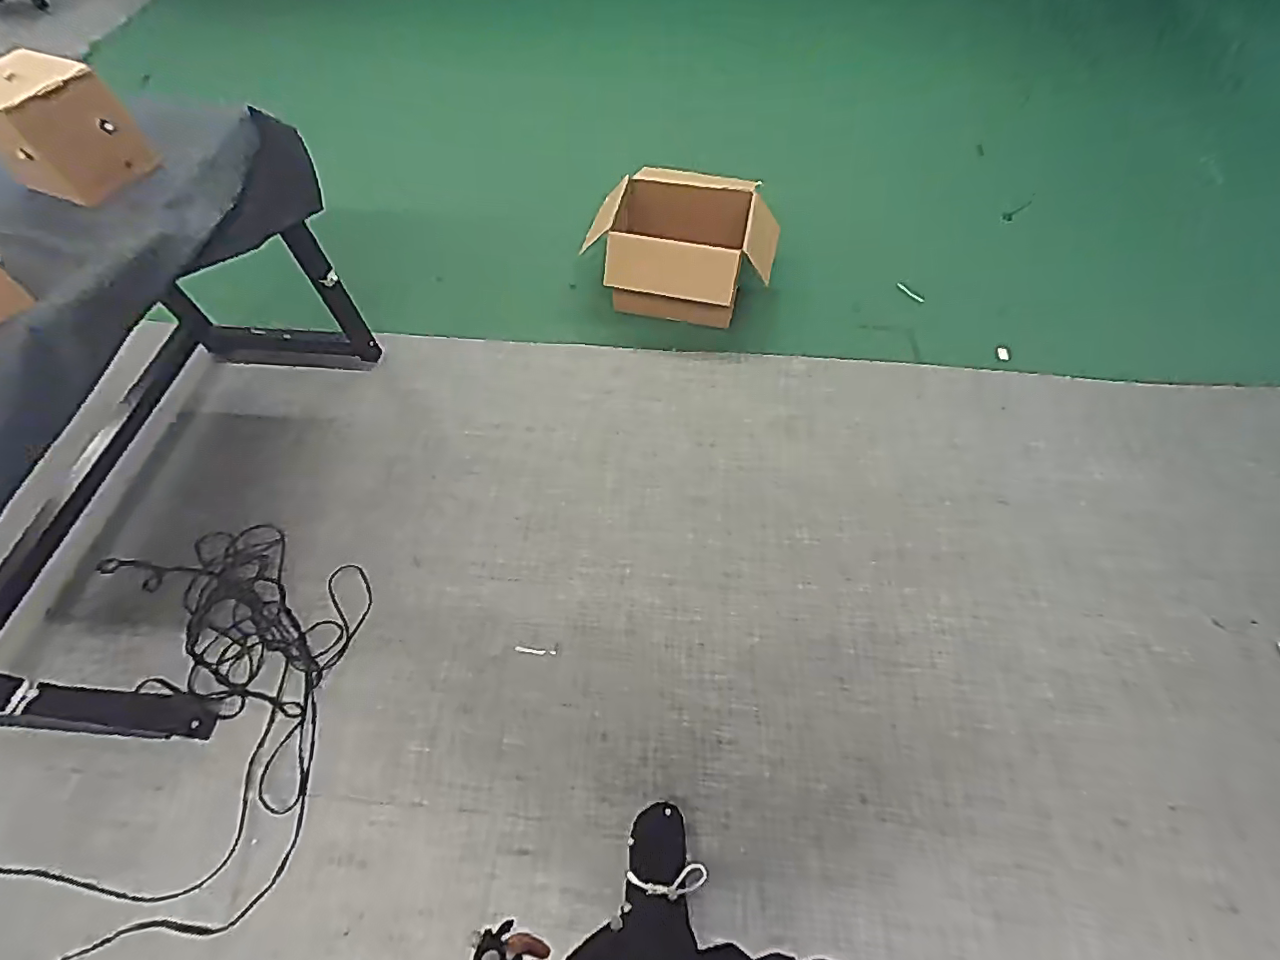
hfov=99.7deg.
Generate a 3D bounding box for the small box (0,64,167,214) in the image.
[{"bbox_3d":[-1.039,-0.616,0.986,0.179,0.176,0.168,19,60,14],"label":"small box"}]
